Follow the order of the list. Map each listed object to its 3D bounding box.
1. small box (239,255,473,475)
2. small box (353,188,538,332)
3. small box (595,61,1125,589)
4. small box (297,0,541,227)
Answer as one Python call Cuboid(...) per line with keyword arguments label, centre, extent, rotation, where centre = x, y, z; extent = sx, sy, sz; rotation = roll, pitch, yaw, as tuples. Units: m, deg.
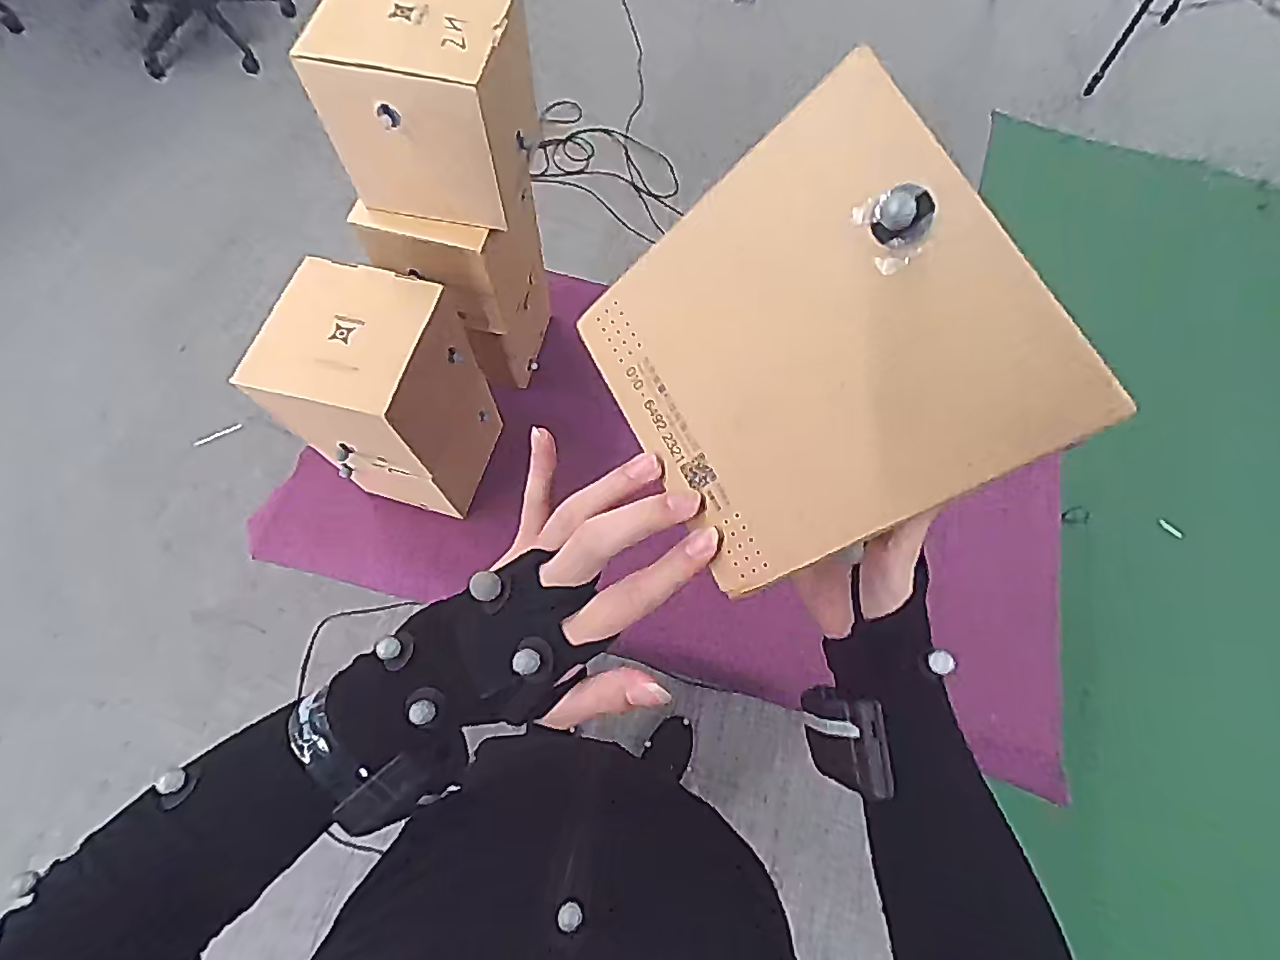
Cuboid(label="small box", centre=(-0.318, -0.130, 0.654), extent=(0.168, 0.176, 0.179), rotation=(13, 69, 2))
Cuboid(label="small box", centre=(-0.246, -0.329, 0.737), extent=(0.168, 0.176, 0.179), rotation=(13, 68, 2))
Cuboid(label="small box", centre=(0.107, -0.061, 0.304), extent=(0.176, 0.179, 0.168), rotation=(-35, 78, 30))
Cuboid(label="small box", centre=(-0.219, -0.409, 0.593), extent=(0.179, 0.176, 0.168), rotation=(10, 69, 0))
